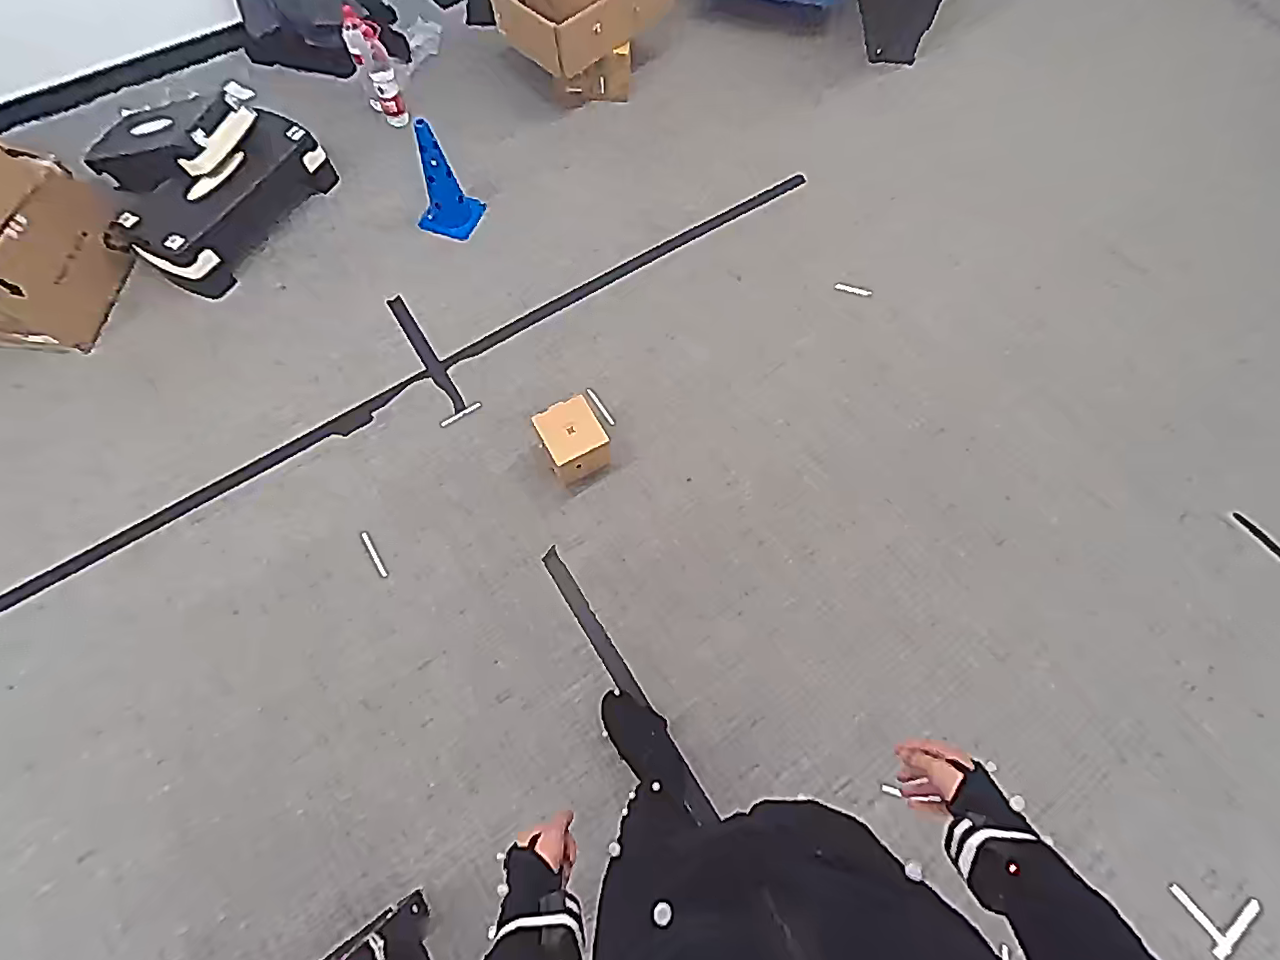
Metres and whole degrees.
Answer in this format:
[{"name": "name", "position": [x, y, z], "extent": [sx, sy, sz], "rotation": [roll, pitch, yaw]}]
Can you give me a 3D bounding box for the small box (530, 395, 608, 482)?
[{"name": "small box", "position": [-0.204, -0.114, 1.605], "extent": [0.168, 0.176, 0.179], "rotation": [-28, 72, -12]}]
